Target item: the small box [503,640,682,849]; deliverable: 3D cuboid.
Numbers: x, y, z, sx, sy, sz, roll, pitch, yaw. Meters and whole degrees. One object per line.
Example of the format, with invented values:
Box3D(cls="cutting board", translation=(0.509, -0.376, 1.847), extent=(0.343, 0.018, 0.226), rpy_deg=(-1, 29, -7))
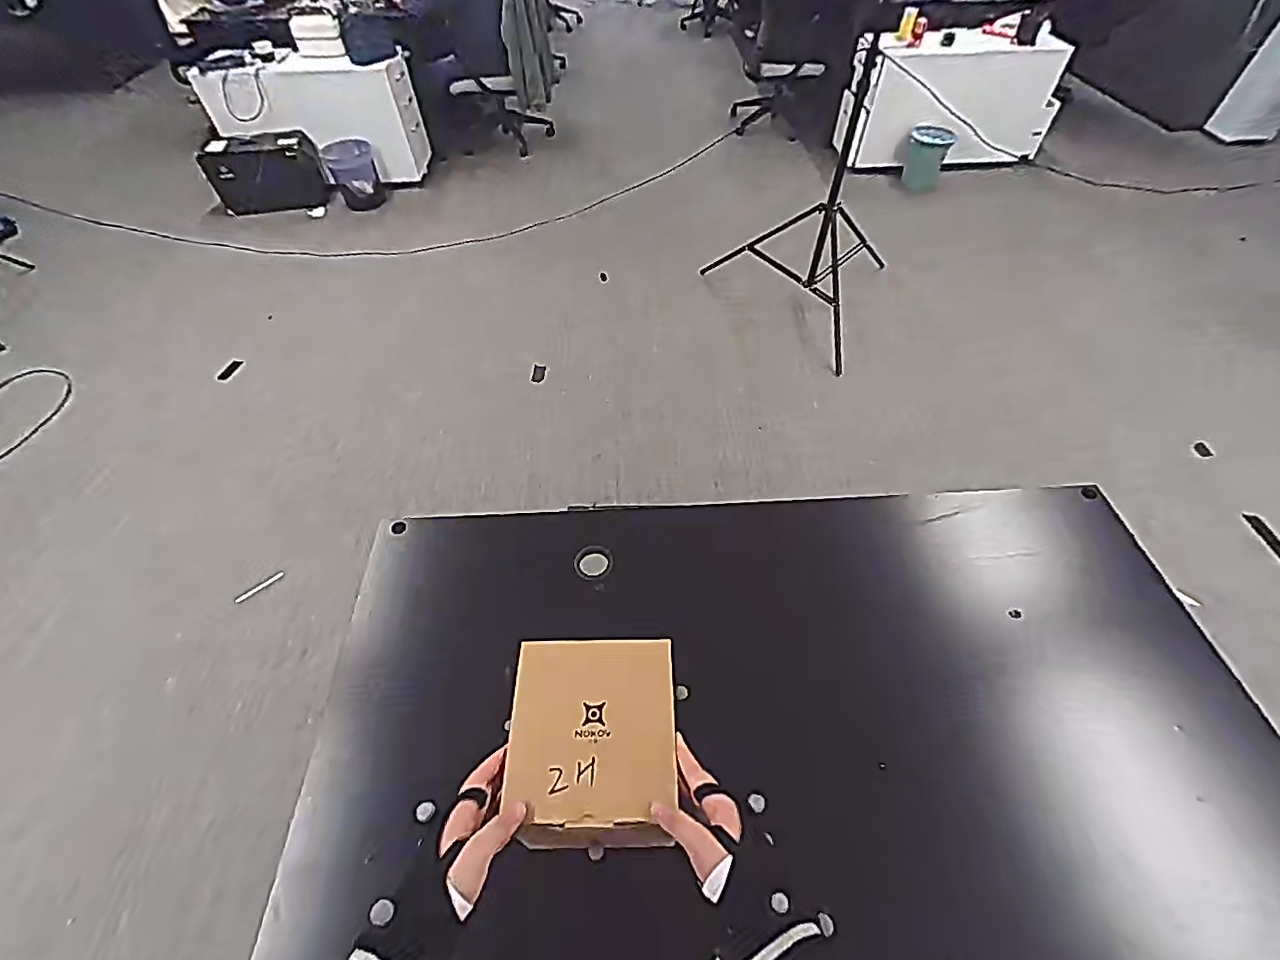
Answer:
Box3D(cls="small box", translation=(-0.044, 0.296, 0.602), extent=(0.168, 0.176, 0.179), rpy_deg=(-1, 50, 0))
